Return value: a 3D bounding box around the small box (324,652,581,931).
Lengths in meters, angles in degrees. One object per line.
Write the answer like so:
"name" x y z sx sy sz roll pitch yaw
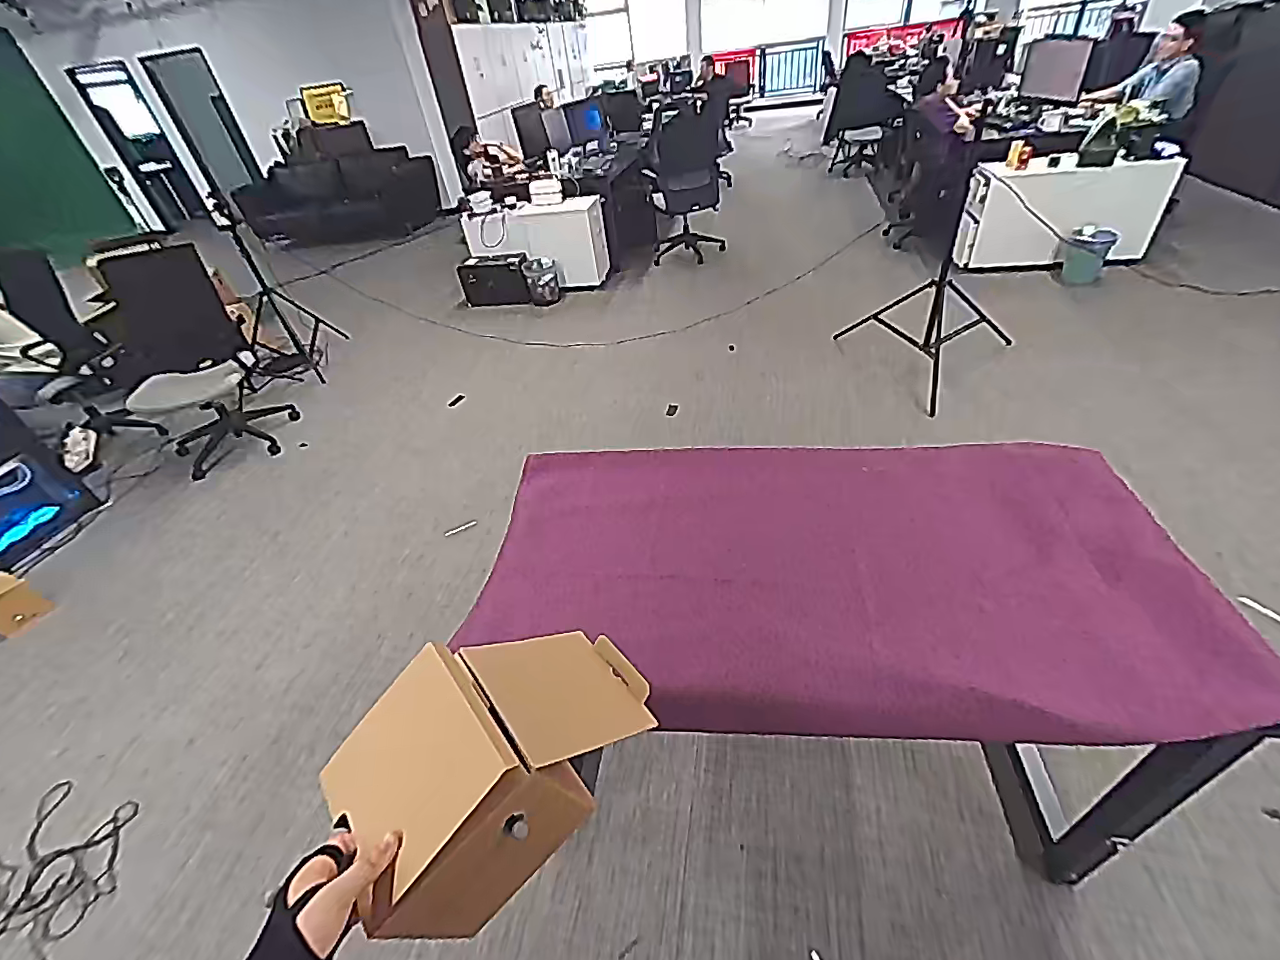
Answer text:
"small box" -0.182 0.324 0.569 0.179 0.176 0.168 -41 48 -15
